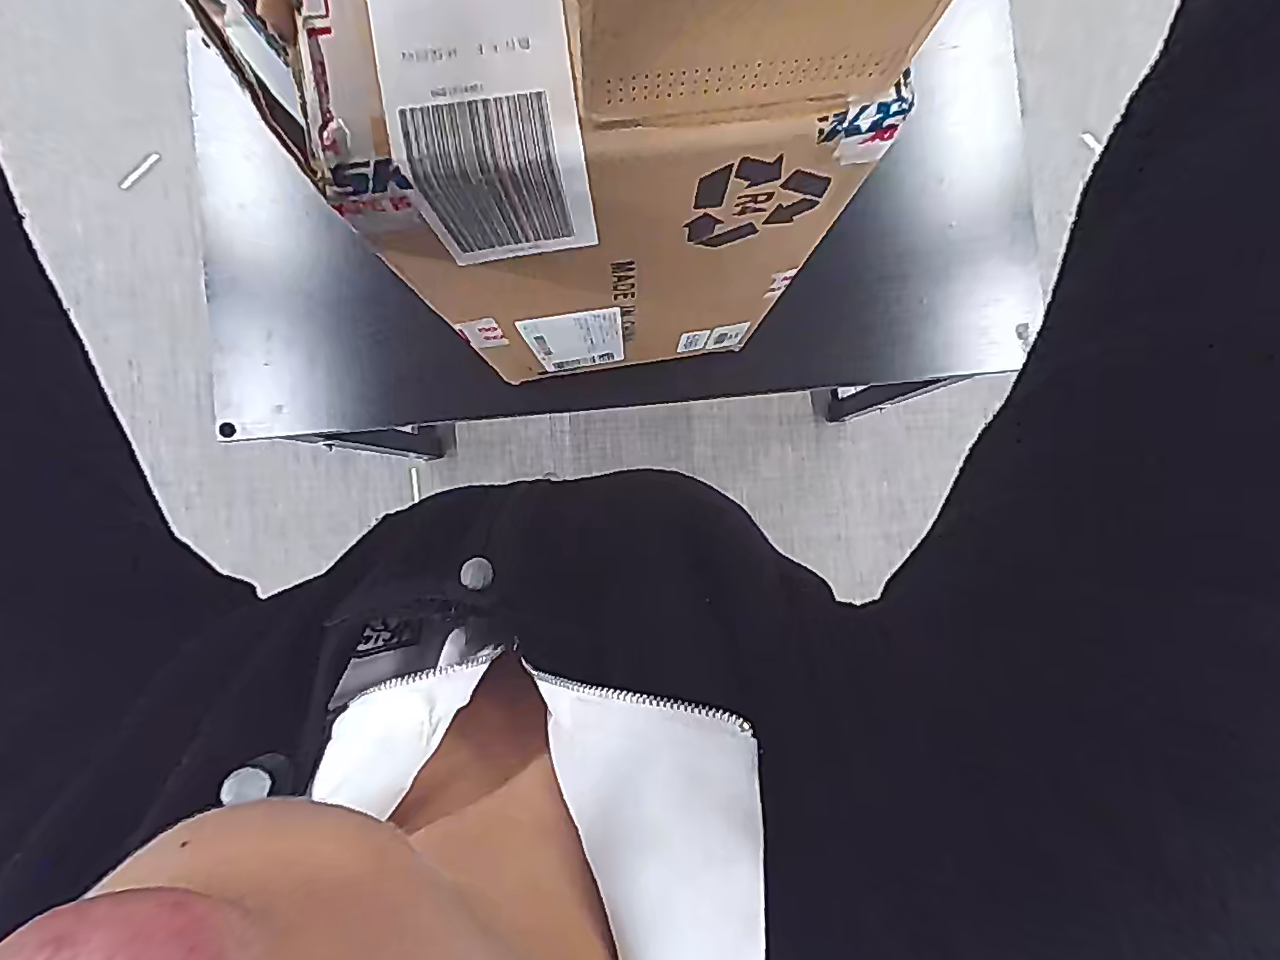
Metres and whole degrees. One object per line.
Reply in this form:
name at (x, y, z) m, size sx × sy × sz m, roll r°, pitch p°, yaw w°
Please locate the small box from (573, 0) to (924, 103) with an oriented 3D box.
small box at (0.047, -0.292, 0.220) m, size 0.179 × 0.176 × 0.168 m, roll -9°, pitch 91°, yaw -2°
